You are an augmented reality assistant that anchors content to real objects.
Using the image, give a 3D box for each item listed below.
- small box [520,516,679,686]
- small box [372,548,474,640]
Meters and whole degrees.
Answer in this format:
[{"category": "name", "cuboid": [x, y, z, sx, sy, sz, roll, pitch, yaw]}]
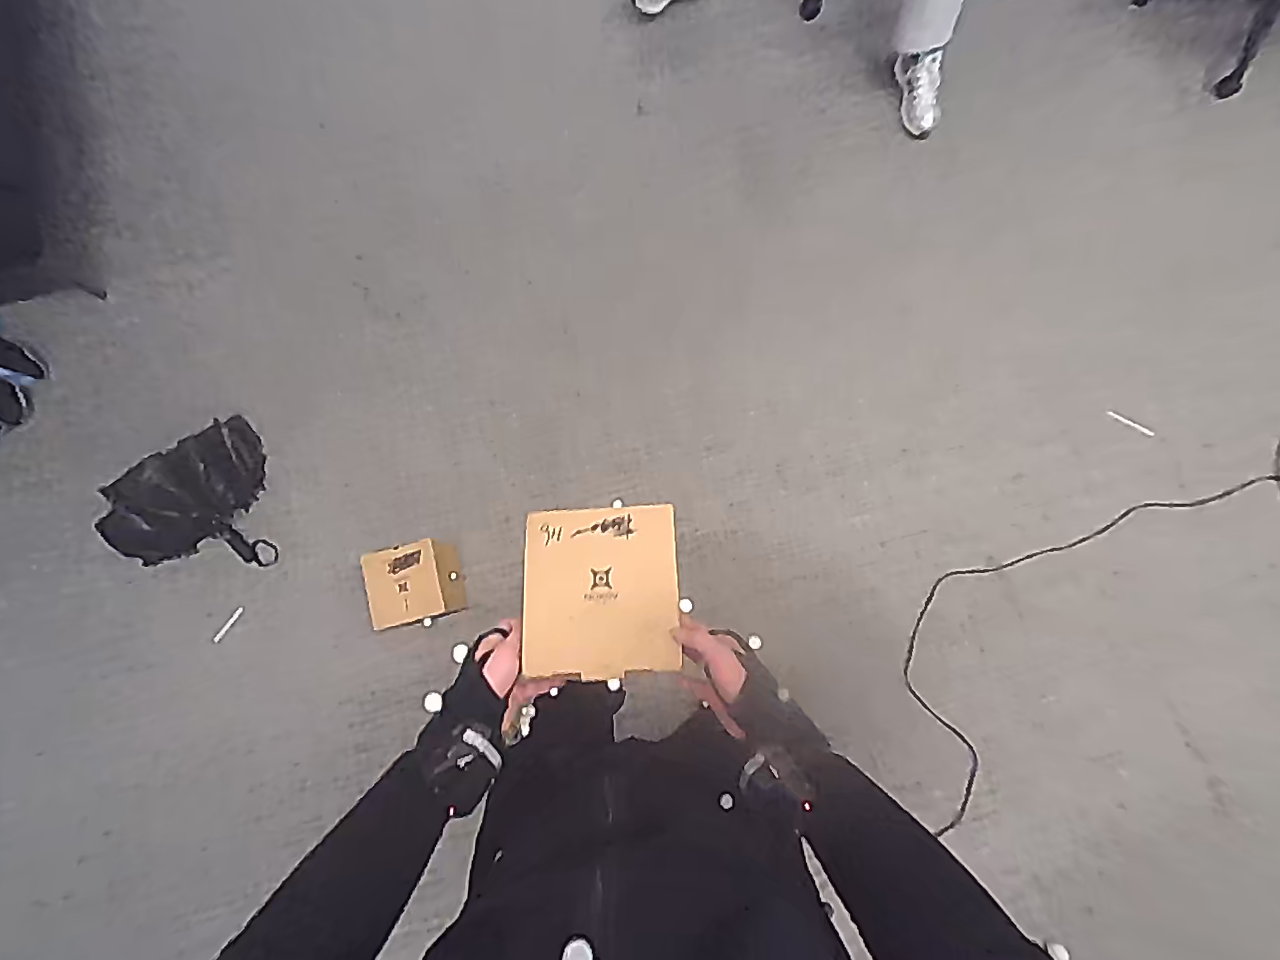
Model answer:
[{"category": "small box", "cuboid": [-0.041, 0.152, 0.661, 0.168, 0.176, 0.179, -4, 70, 4]}, {"category": "small box", "cuboid": [-0.523, 0.275, 1.319, 0.168, 0.176, 0.179, -15, 81, -2]}]
